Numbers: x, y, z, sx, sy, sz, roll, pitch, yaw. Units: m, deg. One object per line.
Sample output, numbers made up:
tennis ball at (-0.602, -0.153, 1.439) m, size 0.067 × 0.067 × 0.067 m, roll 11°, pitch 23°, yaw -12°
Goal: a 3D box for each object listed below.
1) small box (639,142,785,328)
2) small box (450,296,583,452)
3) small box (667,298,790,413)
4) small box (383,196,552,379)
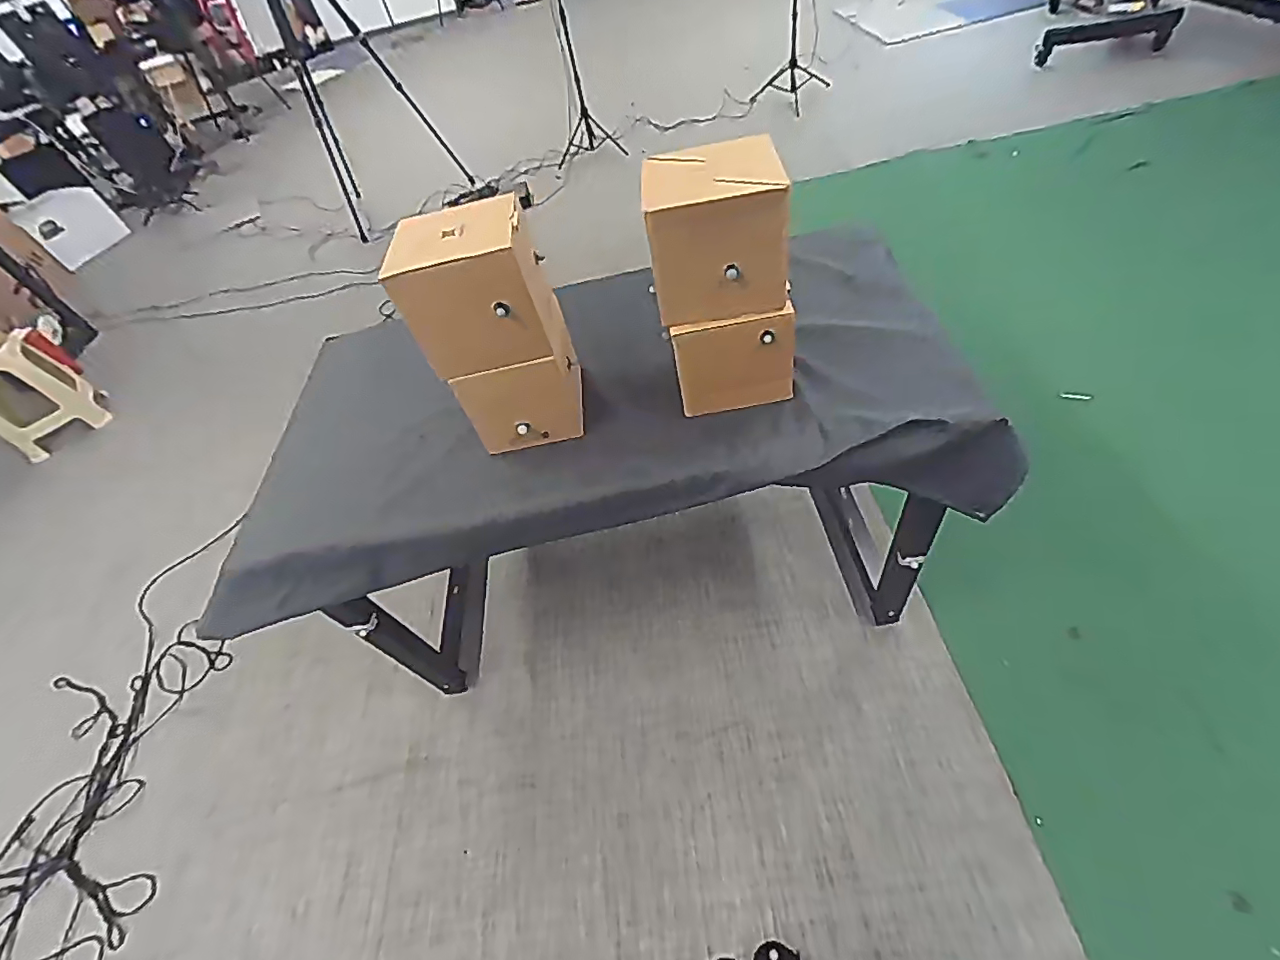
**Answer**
small box at (0.101, -0.341, 0.752) m, size 0.179 × 0.176 × 0.168 m, roll -7°, pitch 50°, yaw 8°
small box at (-0.195, -0.174, 0.903) m, size 0.168 × 0.176 × 0.179 m, roll -11°, pitch 51°, yaw 5°
small box at (0.136, -0.227, 0.870) m, size 0.179 × 0.176 × 0.168 m, roll -9°, pitch 50°, yaw 5°
small box at (-0.231, -0.272, 0.778) m, size 0.179 × 0.176 × 0.168 m, roll -13°, pitch 49°, yaw 5°
